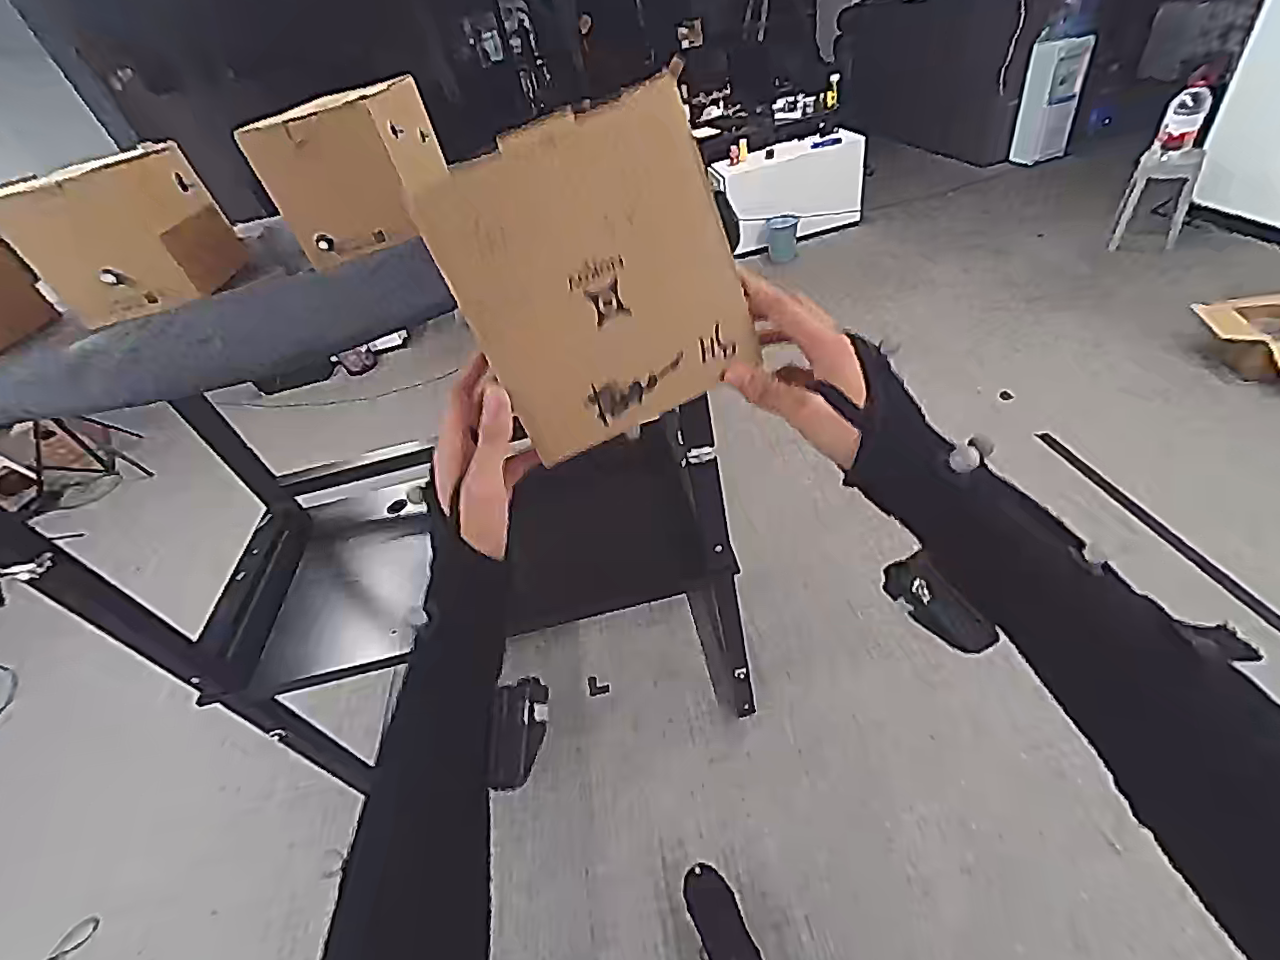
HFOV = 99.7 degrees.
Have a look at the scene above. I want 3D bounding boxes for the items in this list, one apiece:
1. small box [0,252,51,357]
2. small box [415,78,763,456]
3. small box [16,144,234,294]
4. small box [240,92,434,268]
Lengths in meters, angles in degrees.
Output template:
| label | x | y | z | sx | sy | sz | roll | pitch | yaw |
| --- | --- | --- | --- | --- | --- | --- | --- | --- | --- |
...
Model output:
| label | x | y | z | sx | sy | sz | roll | pitch | yaw |
| --- | --- | --- | --- | --- | --- | --- | --- | --- | --- |
| small box | -0.997 | -0.247 | 0.744 | 0.168 | 0.176 | 0.179 | -16 | 40 | -2 |
| small box | -0.037 | -0.145 | 0.403 | 0.168 | 0.179 | 0.176 | -25 | 22 | -3 |
| small box | -0.846 | -0.442 | 0.917 | 0.179 | 0.176 | 0.168 | -16 | 41 | -2 |
| small box | -0.397 | -0.414 | 0.755 | 0.168 | 0.176 | 0.179 | -15 | 40 | -1 |
